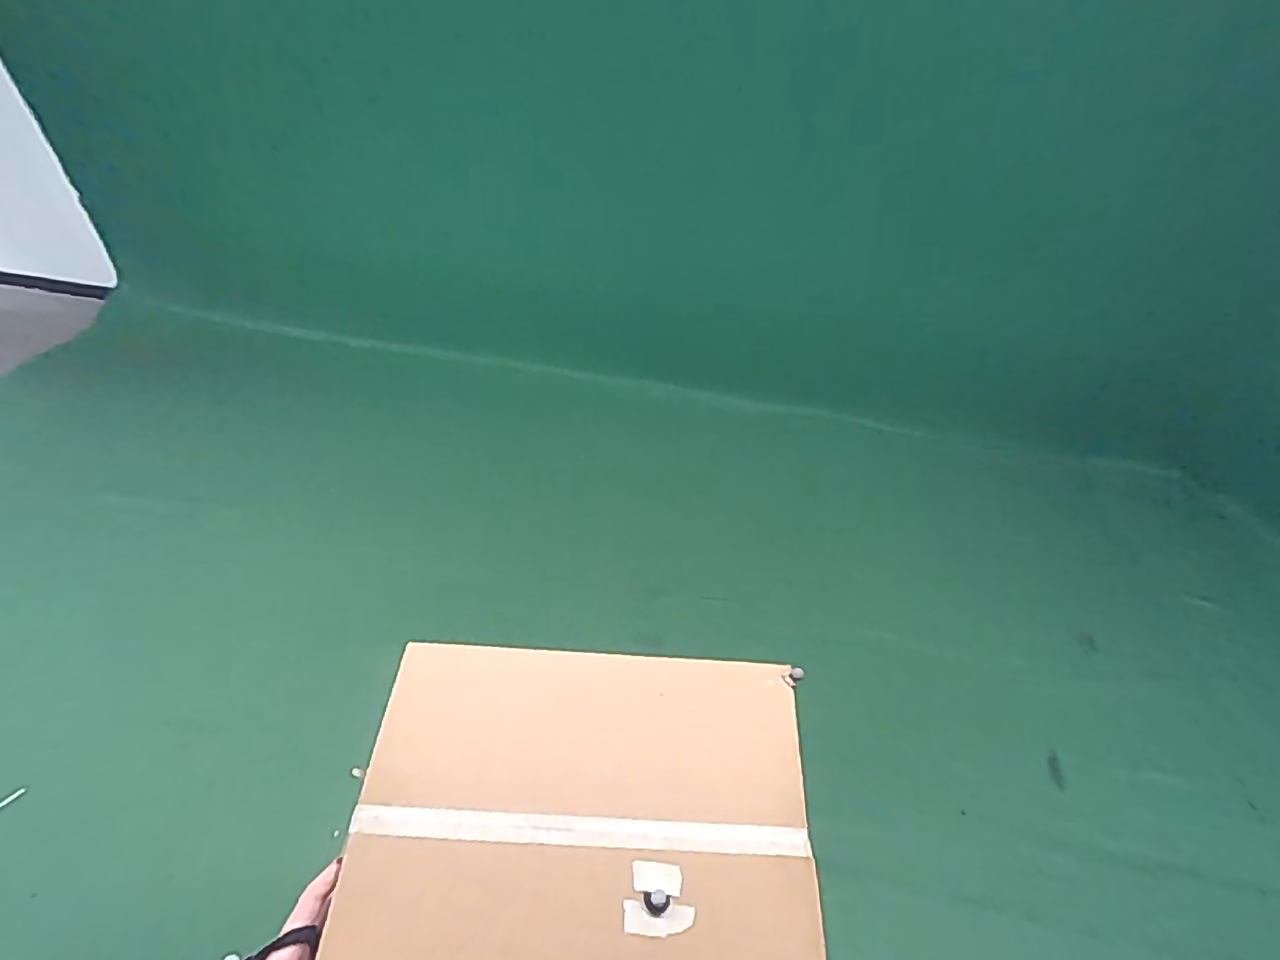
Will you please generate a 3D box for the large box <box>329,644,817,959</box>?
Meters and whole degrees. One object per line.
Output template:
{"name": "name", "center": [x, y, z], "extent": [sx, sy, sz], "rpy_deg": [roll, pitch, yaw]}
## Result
{"name": "large box", "center": [-0.058, 0.396, 0.615], "extent": [0.408, 0.320, 0.320], "rpy_deg": [4, 56, -1]}
